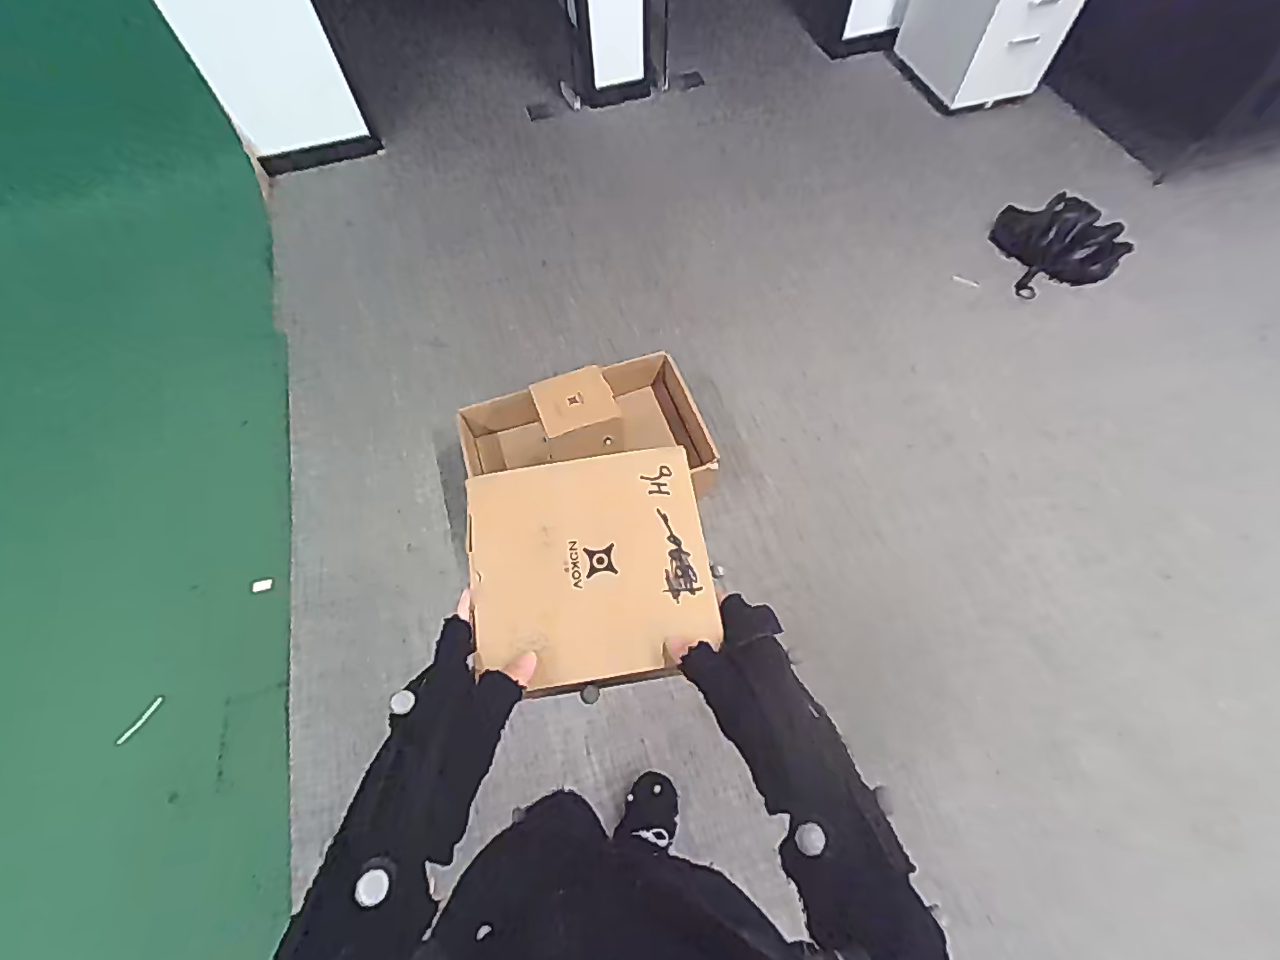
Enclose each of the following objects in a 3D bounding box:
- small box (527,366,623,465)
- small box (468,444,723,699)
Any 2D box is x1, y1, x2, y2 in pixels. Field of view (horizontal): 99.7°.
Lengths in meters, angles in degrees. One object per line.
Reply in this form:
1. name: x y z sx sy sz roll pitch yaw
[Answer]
1. small box: -0.150 -0.138 1.296 0.179 0.176 0.168 -23 63 -12
2. small box: -0.038 0.091 0.483 0.179 0.176 0.168 -11 66 -5
